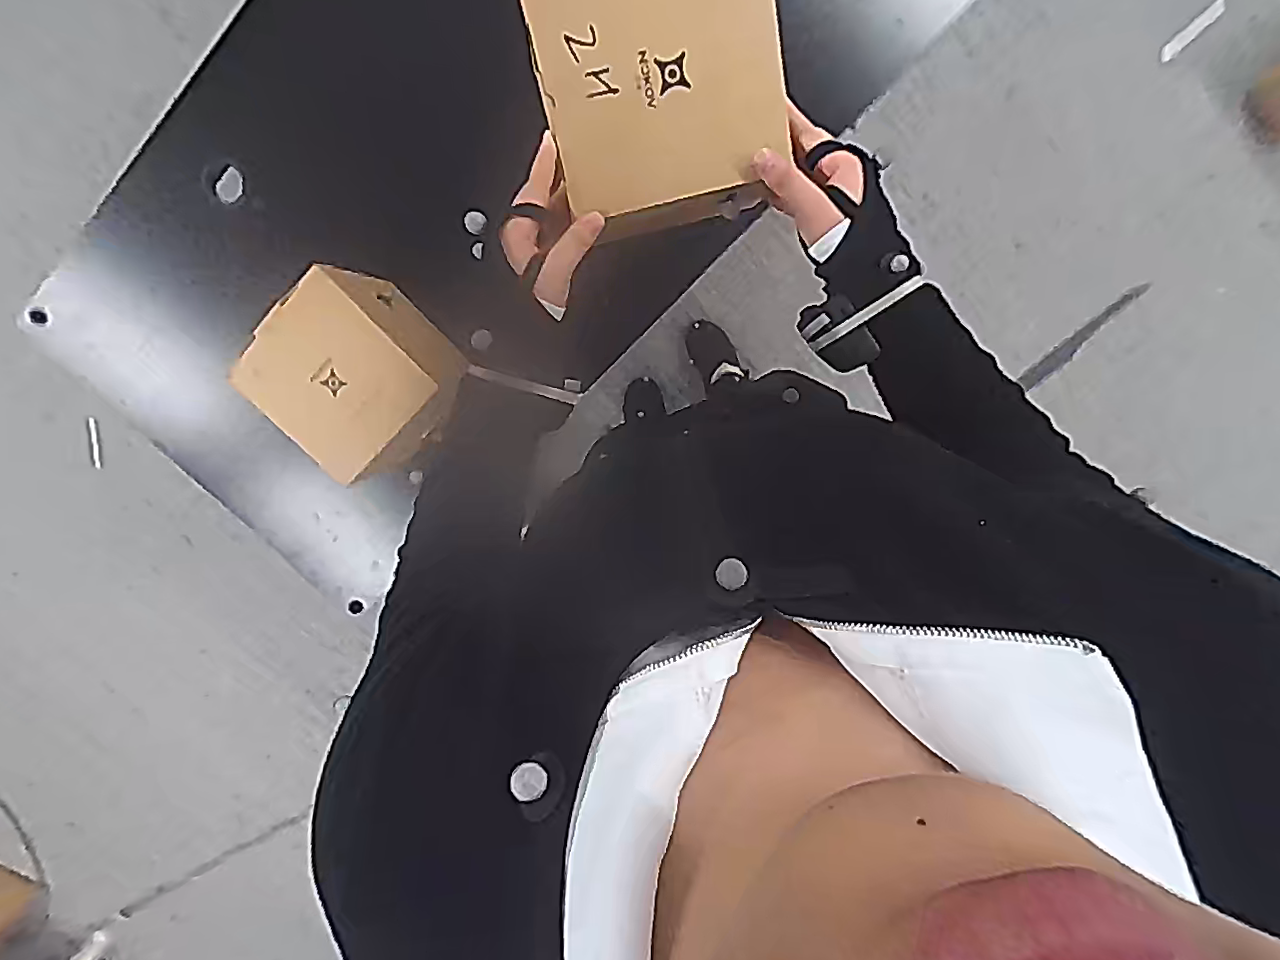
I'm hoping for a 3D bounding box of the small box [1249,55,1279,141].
[{"bbox_3d":[1.498,-0.882,1.167,0.179,0.176,0.168,-41,99,11],"label":"small box"}]

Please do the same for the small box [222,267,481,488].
[{"bbox_3d":[-0.326,-0.120,0.649,0.168,0.176,0.179,-43,99,11],"label":"small box"}]
